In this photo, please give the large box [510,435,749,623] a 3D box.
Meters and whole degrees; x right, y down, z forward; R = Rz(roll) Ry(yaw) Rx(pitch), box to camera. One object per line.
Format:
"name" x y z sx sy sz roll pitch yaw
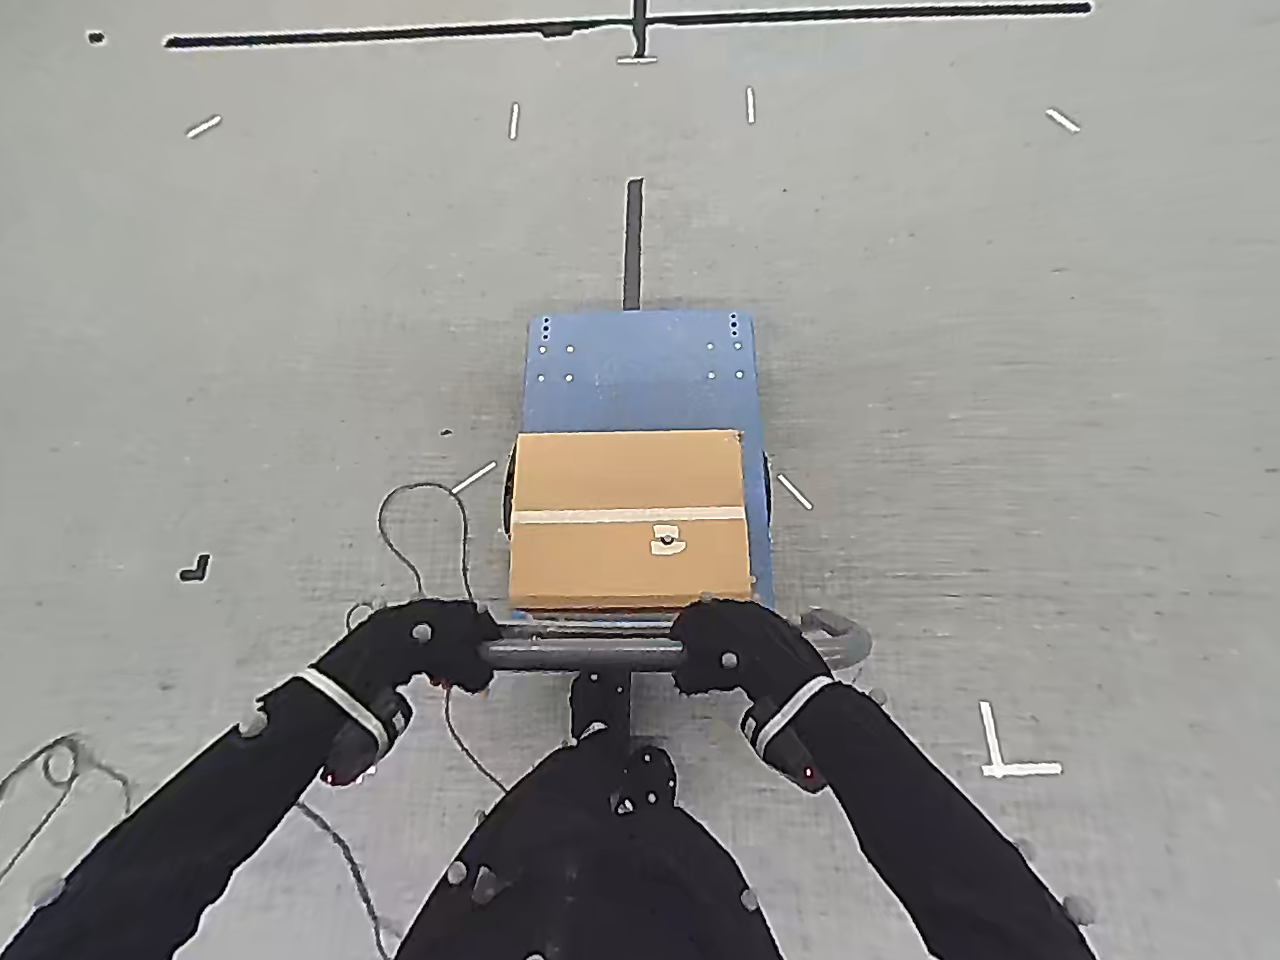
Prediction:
"large box" -0.021 0.114 1.071 0.408 0.320 0.320 -1 74 1
